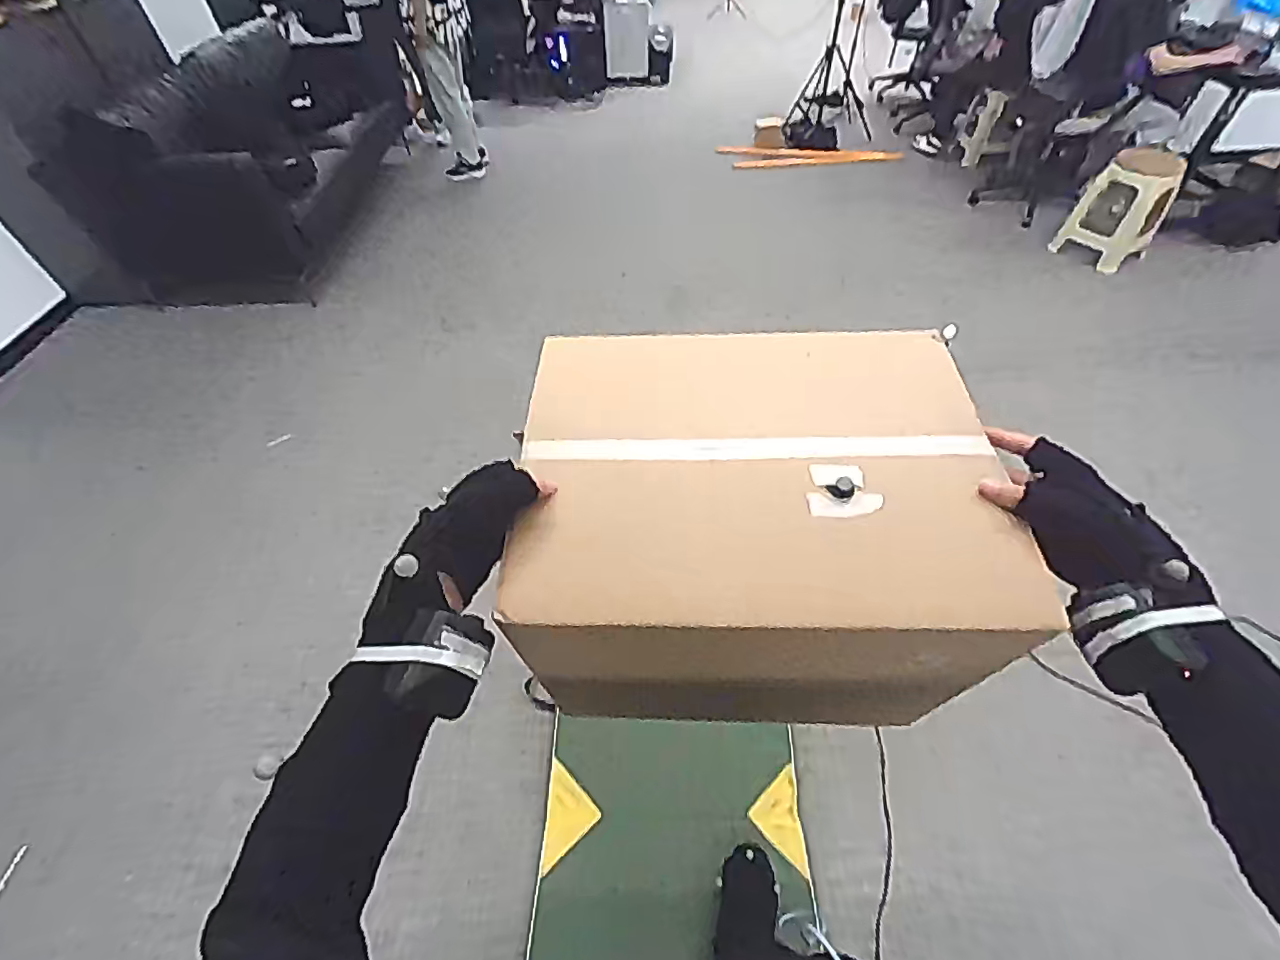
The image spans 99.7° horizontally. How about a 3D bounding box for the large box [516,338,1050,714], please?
[{"bbox_3d":[0.108,0.063,0.605,0.408,0.320,0.320,0,55,2],"label":"large box"}]
